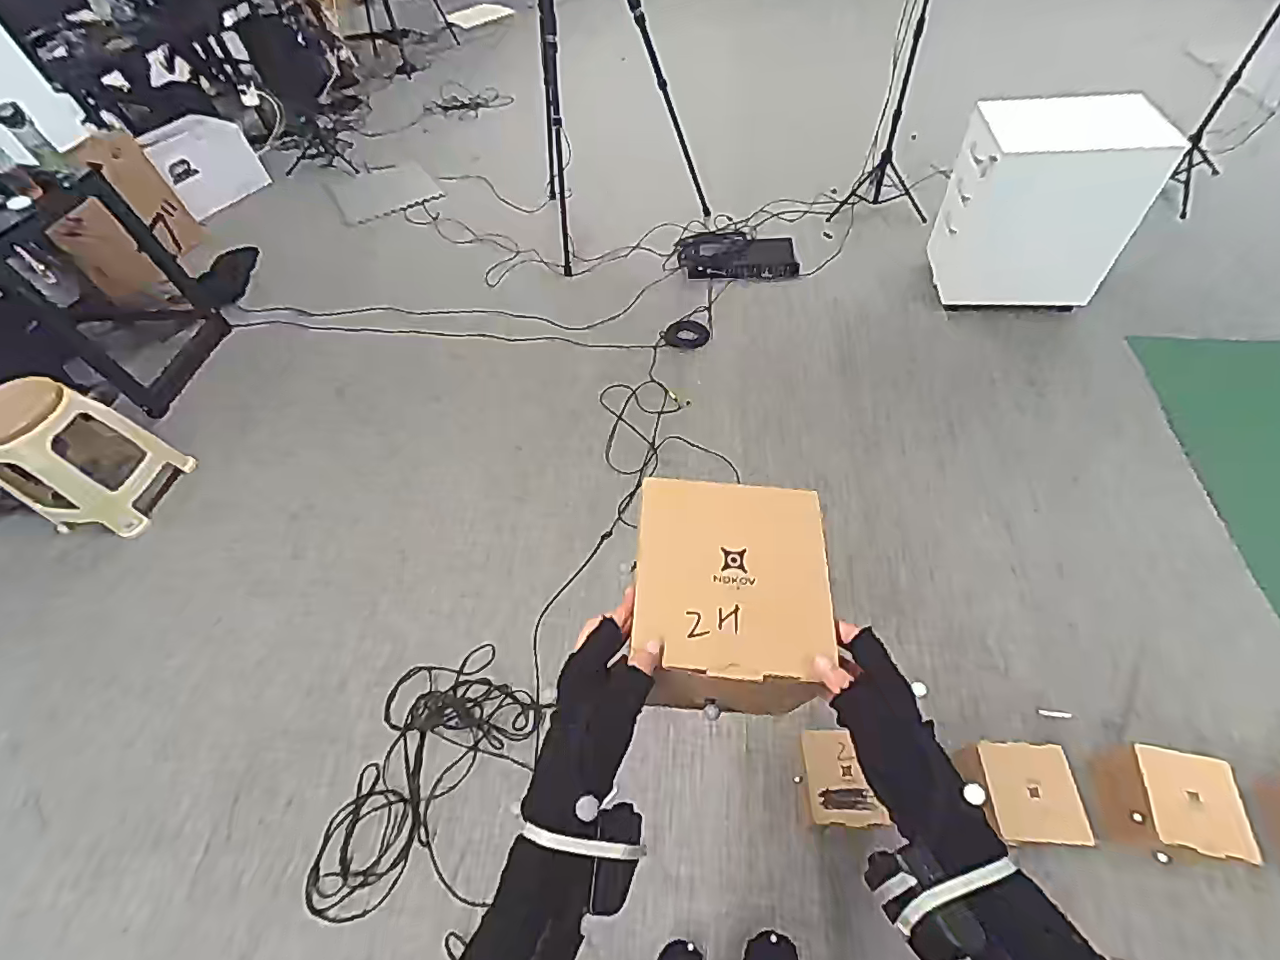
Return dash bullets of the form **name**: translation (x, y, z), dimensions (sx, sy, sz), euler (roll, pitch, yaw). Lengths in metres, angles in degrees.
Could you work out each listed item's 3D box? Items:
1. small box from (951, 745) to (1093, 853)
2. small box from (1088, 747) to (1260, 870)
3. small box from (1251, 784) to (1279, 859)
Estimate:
- **small box**: translation (0.783, 0.670, 1.134), dimensions (0.168, 0.176, 0.179), euler (-1, 55, 7)
- **small box**: translation (1.066, 0.671, 1.103), dimensions (0.168, 0.176, 0.179), euler (7, 55, 11)
- **small box**: translation (1.379, 0.699, 1.048), dimensions (0.168, 0.176, 0.179), euler (3, 53, 9)
